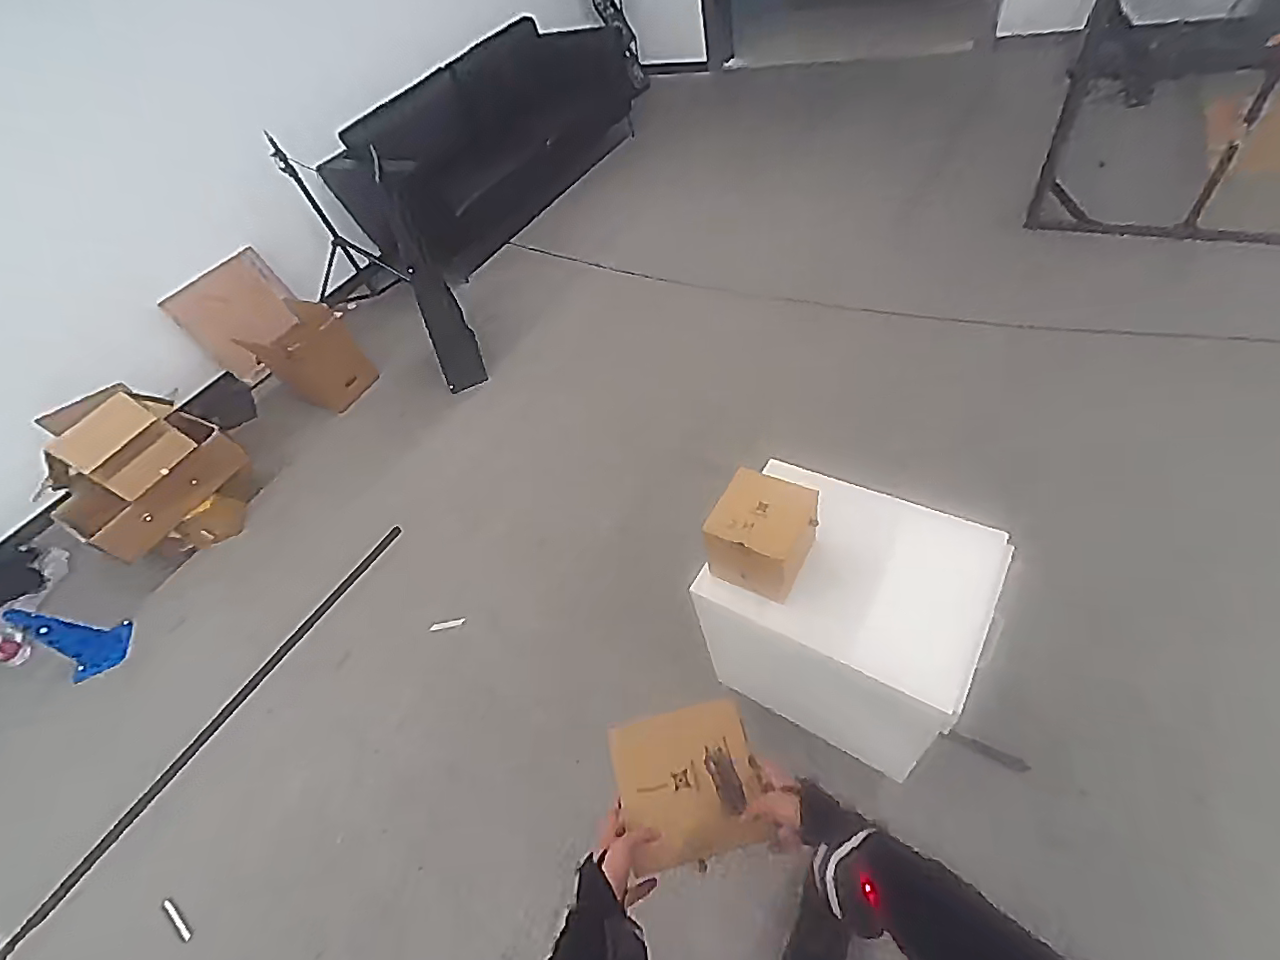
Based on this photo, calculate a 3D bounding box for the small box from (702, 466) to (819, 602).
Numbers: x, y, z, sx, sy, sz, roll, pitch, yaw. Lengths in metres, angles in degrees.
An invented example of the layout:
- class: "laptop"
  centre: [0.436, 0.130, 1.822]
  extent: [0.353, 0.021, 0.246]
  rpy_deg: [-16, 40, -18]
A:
- class: "small box"
  centre: [0.240, 0.108, 1.070]
  extent: [0.168, 0.176, 0.179]
  rpy_deg: [20, 60, 29]

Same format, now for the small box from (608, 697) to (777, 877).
- class: "small box"
  centre: [0.066, 0.411, 0.731]
  extent: [0.179, 0.176, 0.168]
  rpy_deg: [-14, 57, -2]
